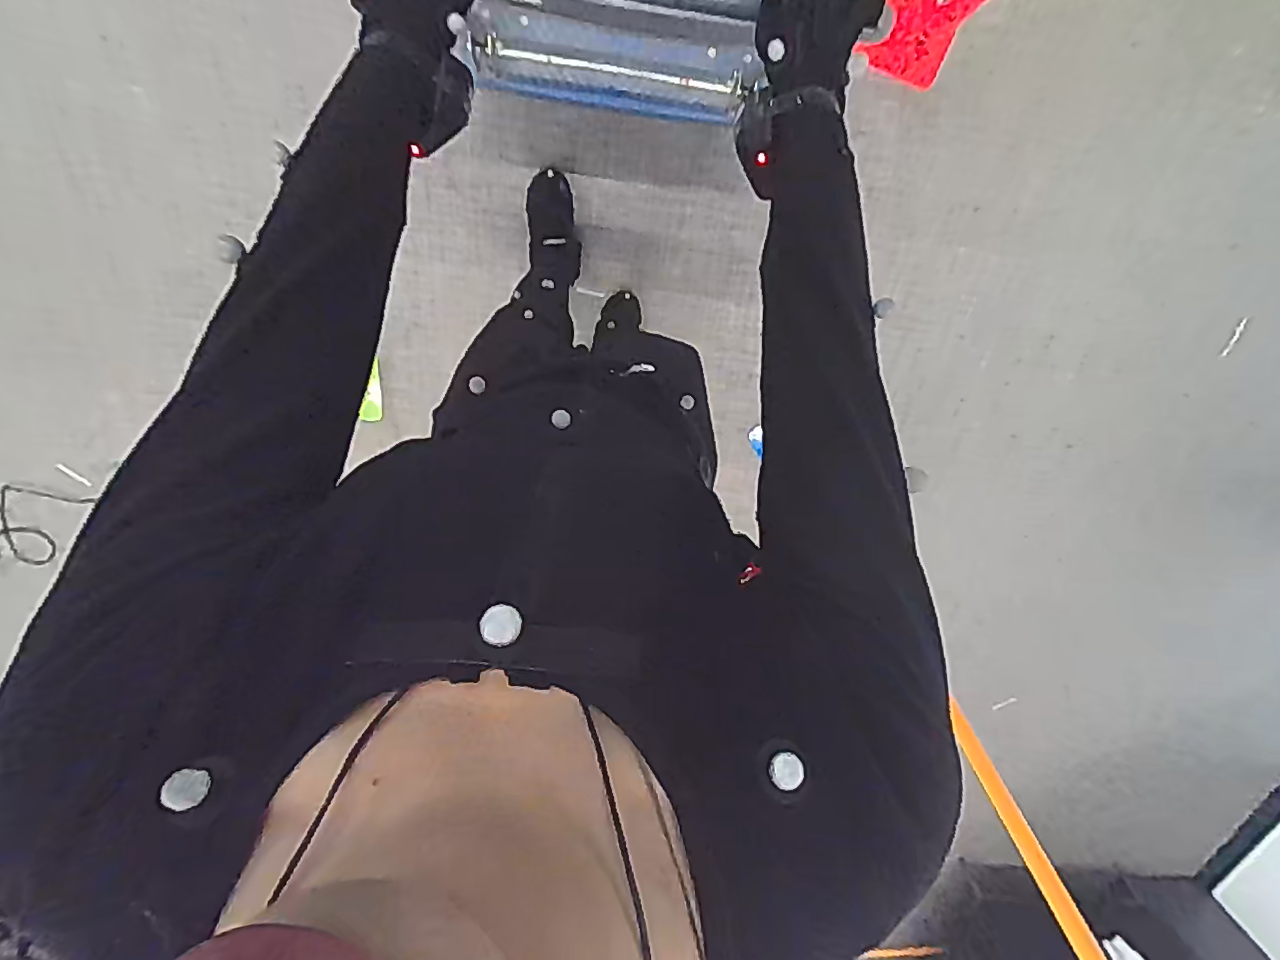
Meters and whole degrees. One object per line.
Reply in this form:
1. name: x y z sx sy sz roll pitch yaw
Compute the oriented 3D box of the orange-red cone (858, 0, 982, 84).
1. orange-red cone: 0.589 -0.903 0.987 0.198 0.360 0.199 17 115 -9
